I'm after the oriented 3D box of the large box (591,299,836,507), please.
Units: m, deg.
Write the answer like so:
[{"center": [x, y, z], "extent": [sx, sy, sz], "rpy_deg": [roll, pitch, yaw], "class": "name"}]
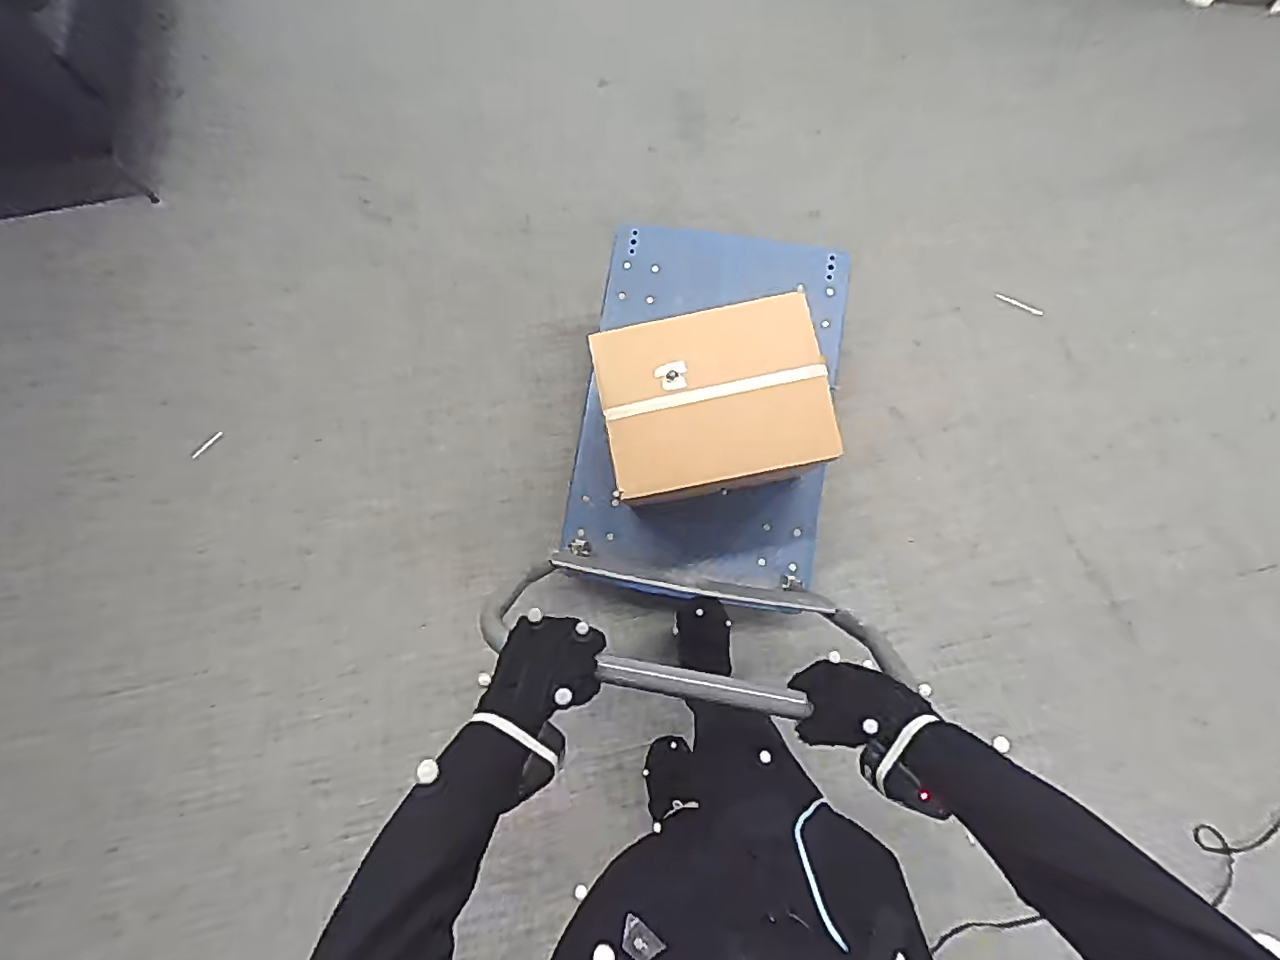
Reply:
[{"center": [0.139, -0.134, 1.134], "extent": [0.408, 0.320, 0.320], "rpy_deg": [-11, 83, 2], "class": "large box"}]
